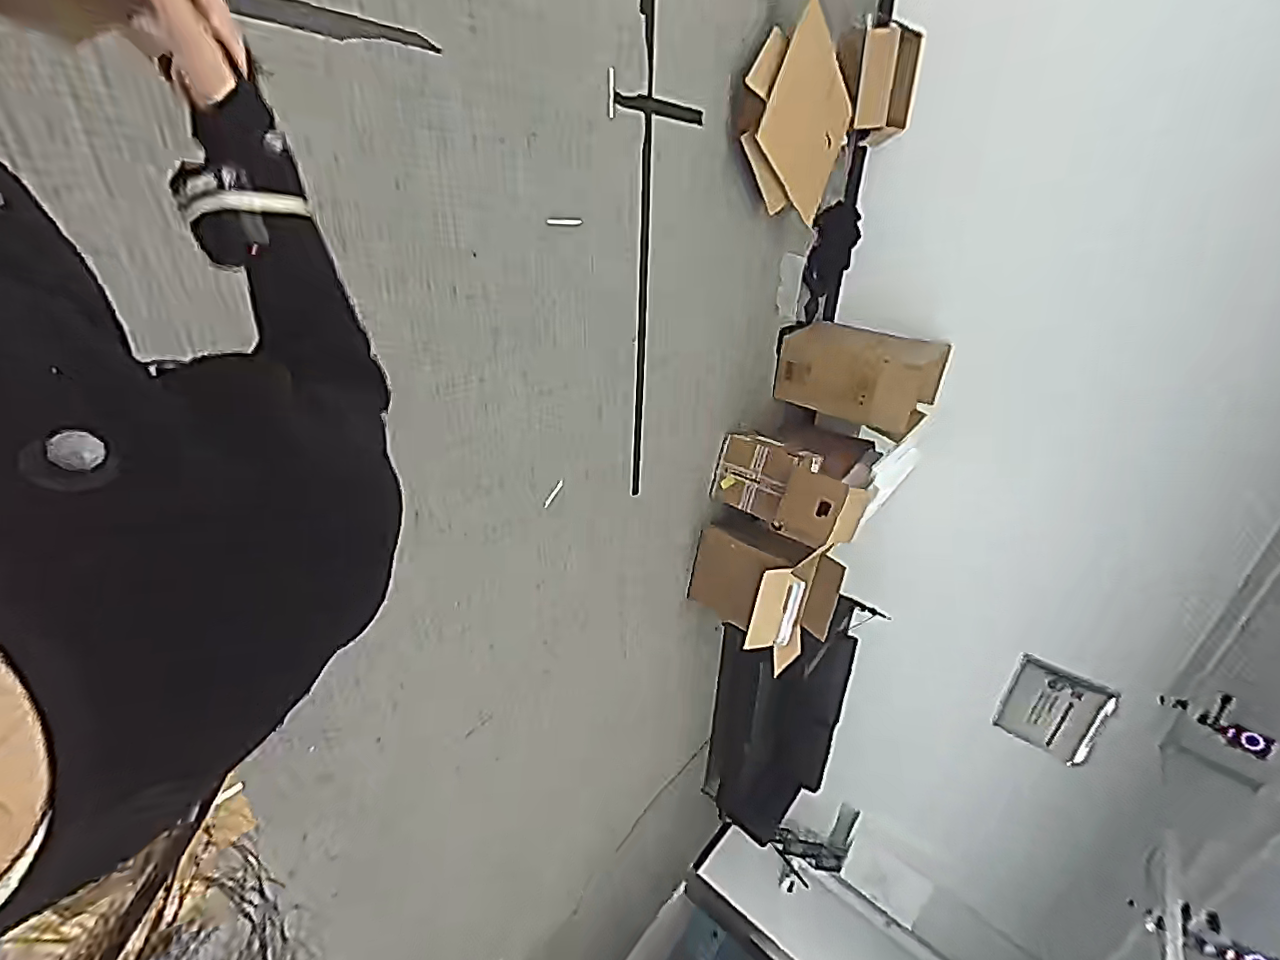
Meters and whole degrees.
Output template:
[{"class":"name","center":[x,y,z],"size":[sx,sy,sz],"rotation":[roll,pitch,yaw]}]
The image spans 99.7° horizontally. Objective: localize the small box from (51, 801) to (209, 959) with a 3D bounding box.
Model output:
[{"class":"small box","center":[-1.009,0.792,1.074],"size":[0.179,0.176,0.168],"rotation":[-27,127,-42]}]
